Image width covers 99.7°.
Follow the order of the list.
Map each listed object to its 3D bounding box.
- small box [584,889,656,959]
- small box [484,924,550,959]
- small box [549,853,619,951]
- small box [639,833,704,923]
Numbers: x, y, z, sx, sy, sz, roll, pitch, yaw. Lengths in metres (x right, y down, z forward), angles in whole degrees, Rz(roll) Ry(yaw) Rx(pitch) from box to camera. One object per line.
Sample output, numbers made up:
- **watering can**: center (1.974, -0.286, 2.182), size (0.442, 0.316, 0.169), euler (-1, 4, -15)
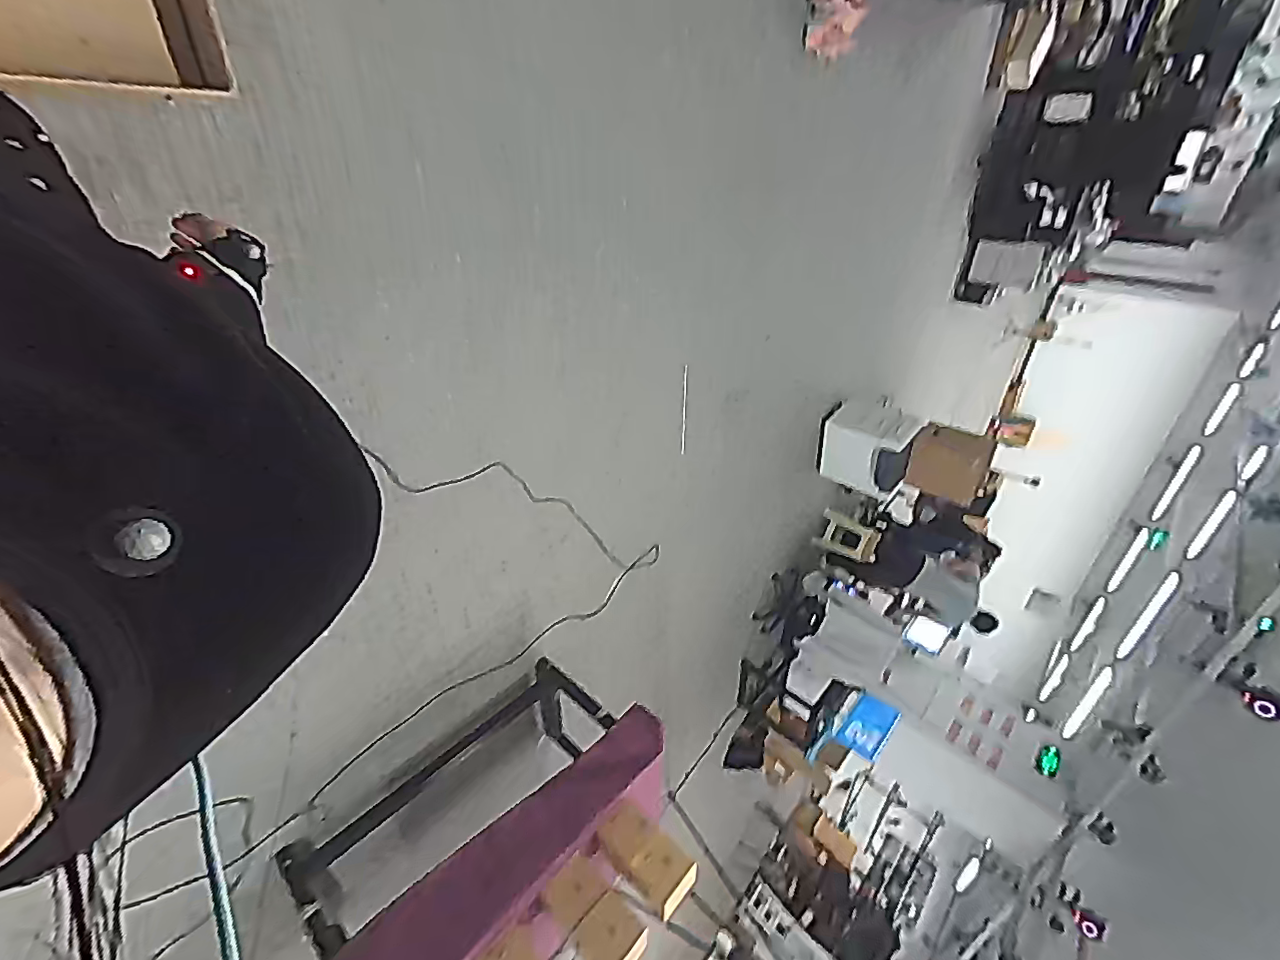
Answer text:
- **small box**: center (-0.069, 1.489, 1.746), size (0.179, 0.176, 0.168), euler (-29, 132, -38)
- **small box**: center (-0.378, 1.542, 1.678), size (0.168, 0.176, 0.179), euler (-24, 130, -41)
- **small box**: center (-0.187, 1.433, 1.846), size (0.179, 0.176, 0.168), euler (-30, 133, -37)
- **small box**: center (0.110, 1.398, 1.910), size (0.168, 0.176, 0.179), euler (-32, 135, -35)
